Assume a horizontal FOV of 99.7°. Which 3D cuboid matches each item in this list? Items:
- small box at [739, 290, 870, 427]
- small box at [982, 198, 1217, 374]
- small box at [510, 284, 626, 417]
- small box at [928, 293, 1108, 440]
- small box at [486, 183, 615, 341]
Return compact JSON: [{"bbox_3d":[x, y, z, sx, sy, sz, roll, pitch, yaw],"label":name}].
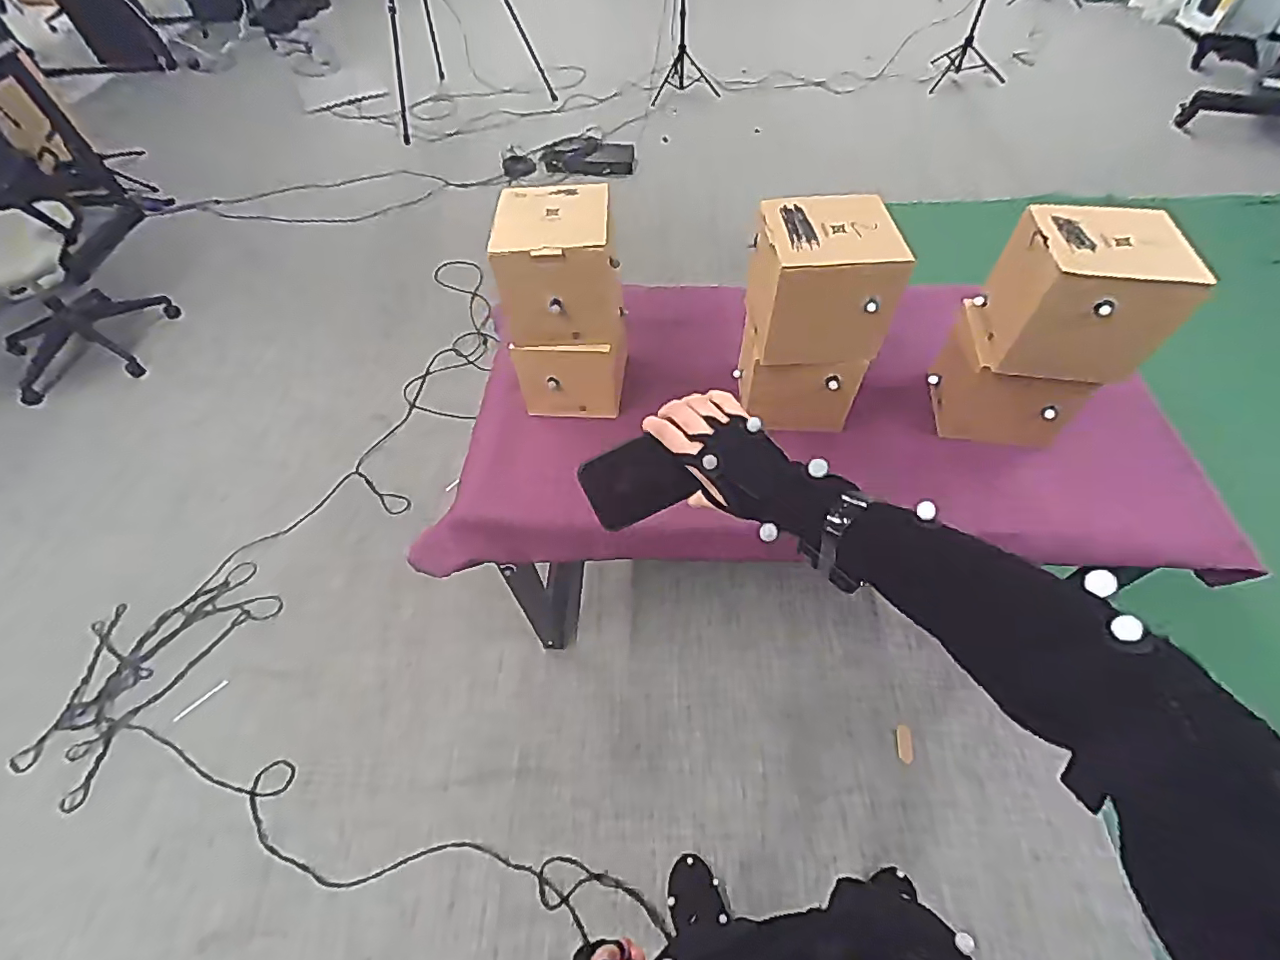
[{"bbox_3d":[0.269,-0.204,0.929,0.179,0.176,0.168,1,55,5],"label":"small box"},{"bbox_3d":[0.607,-0.266,0.752,0.179,0.176,0.168,7,55,7],"label":"small box"},{"bbox_3d":[-0.118,-0.230,0.973,0.168,0.176,0.179,2,55,5],"label":"small box"},{"bbox_3d":[0.607,-0.184,0.894,0.179,0.176,0.168,6,55,9],"label":"small box"},{"bbox_3d":[-0.126,-0.332,0.844,0.168,0.176,0.179,-2,55,1],"label":"small box"}]
